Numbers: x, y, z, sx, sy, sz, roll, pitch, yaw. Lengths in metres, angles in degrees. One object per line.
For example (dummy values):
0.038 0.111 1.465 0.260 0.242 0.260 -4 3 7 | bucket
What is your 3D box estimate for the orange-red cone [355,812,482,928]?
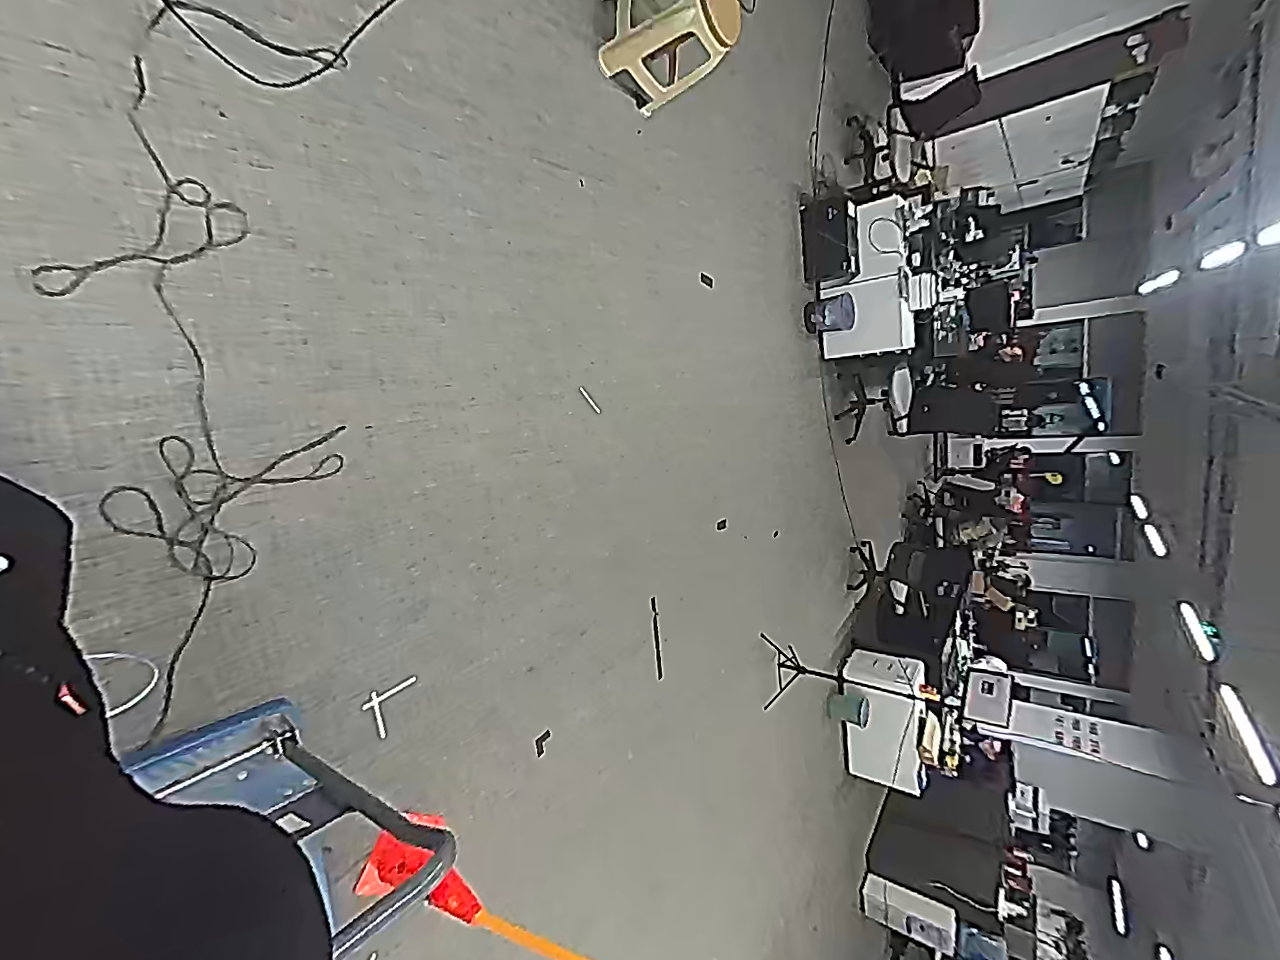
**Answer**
-0.527 1.043 1.390 0.198 0.360 0.199 47 56 -41 | orange-red cone
